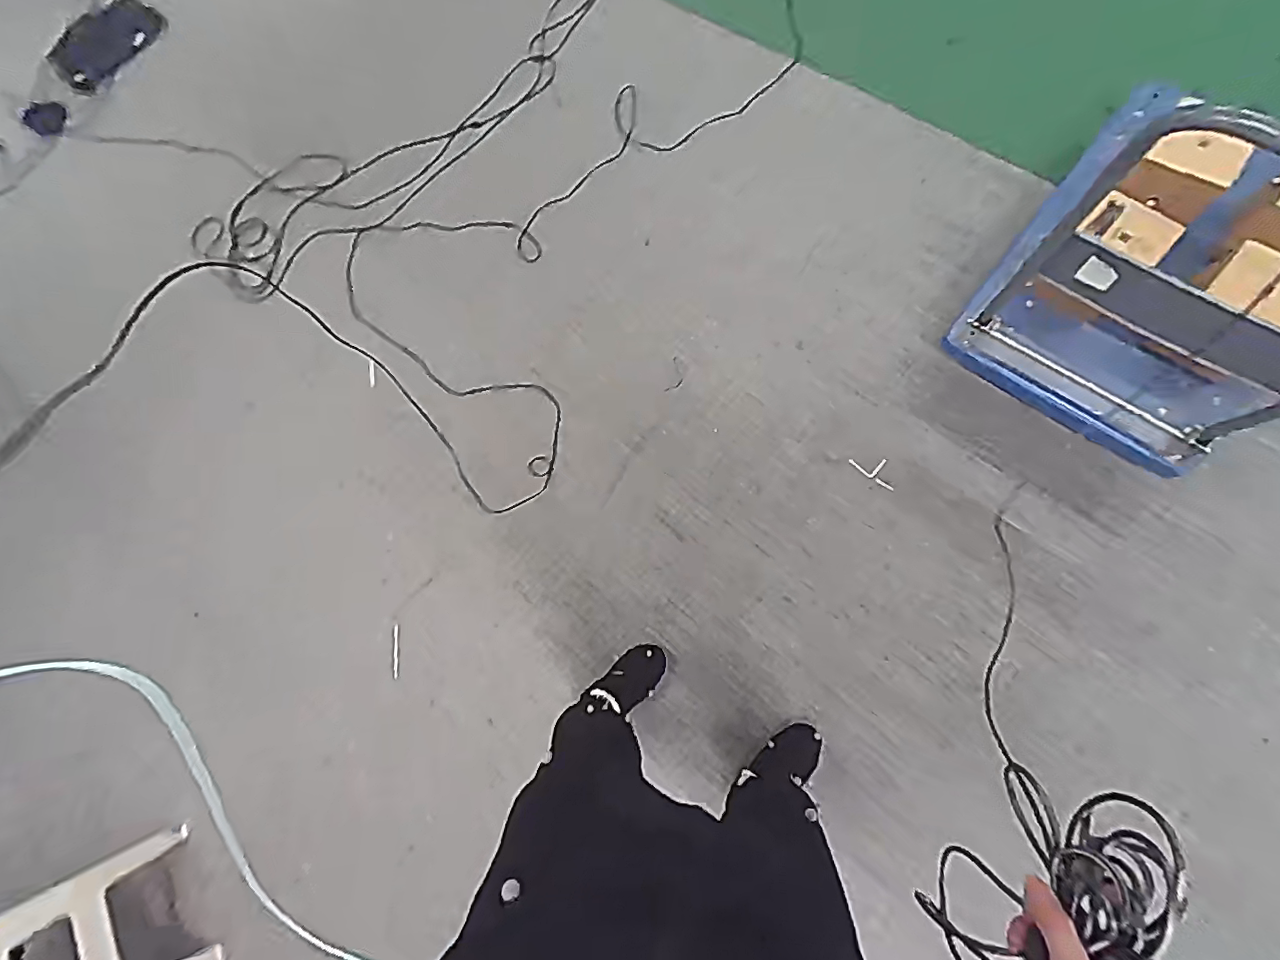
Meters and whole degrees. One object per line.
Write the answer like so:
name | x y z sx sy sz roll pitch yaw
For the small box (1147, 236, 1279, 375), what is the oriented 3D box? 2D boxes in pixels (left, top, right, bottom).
small box | 1.226 -0.353 1.119 0.168 0.176 0.179 39 87 16

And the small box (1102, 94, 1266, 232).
small box | 1.192 -0.696 1.205 0.168 0.176 0.179 34 85 15

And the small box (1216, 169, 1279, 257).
small box | 1.394 -0.564 1.136 0.168 0.176 0.179 34 86 17
